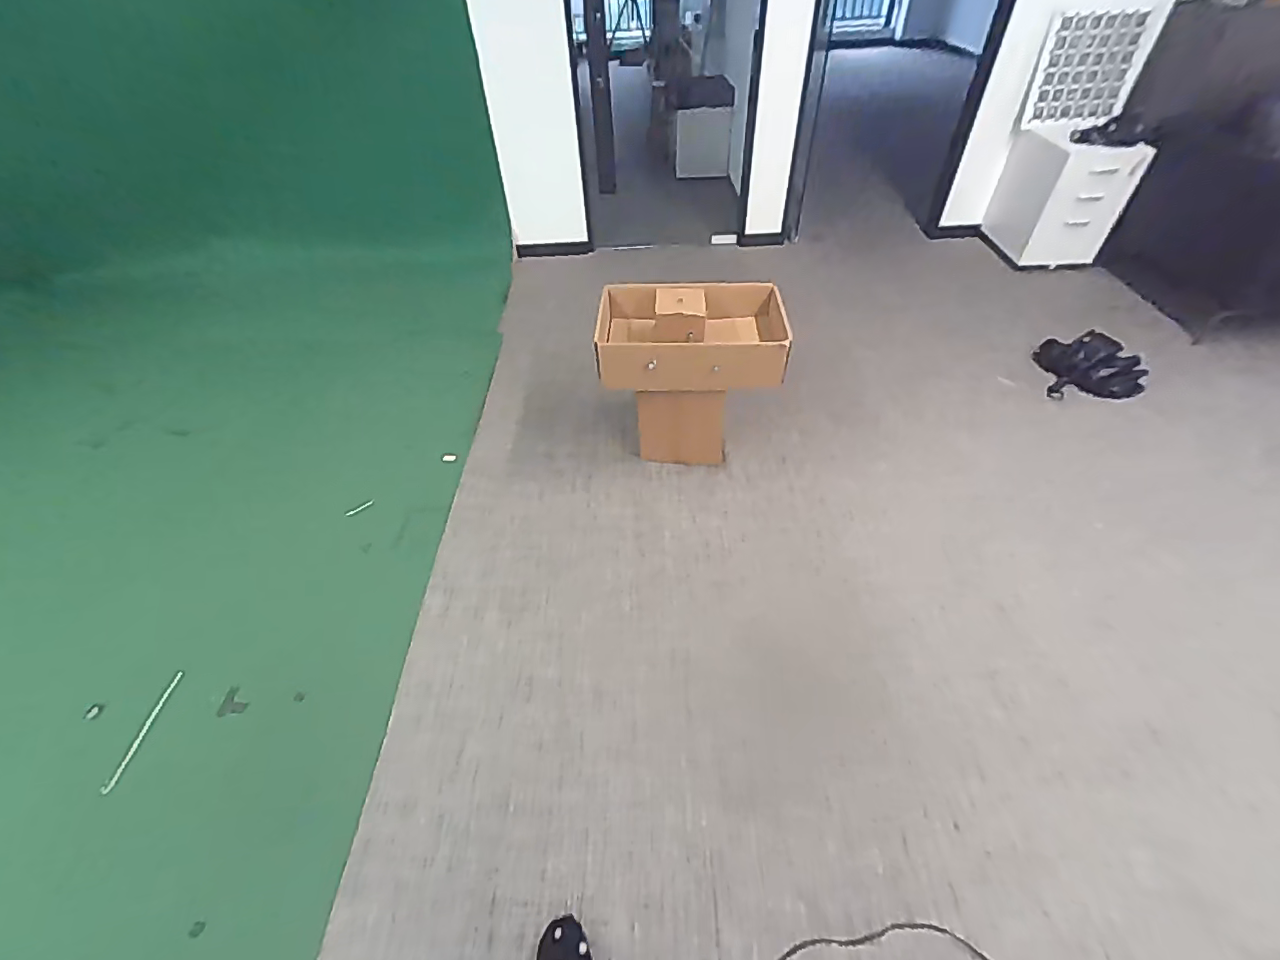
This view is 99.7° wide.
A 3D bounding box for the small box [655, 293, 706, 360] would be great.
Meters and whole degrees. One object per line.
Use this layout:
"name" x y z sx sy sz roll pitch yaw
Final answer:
"small box" 0.138 -0.527 1.859 0.168 0.176 0.179 1 44 1
